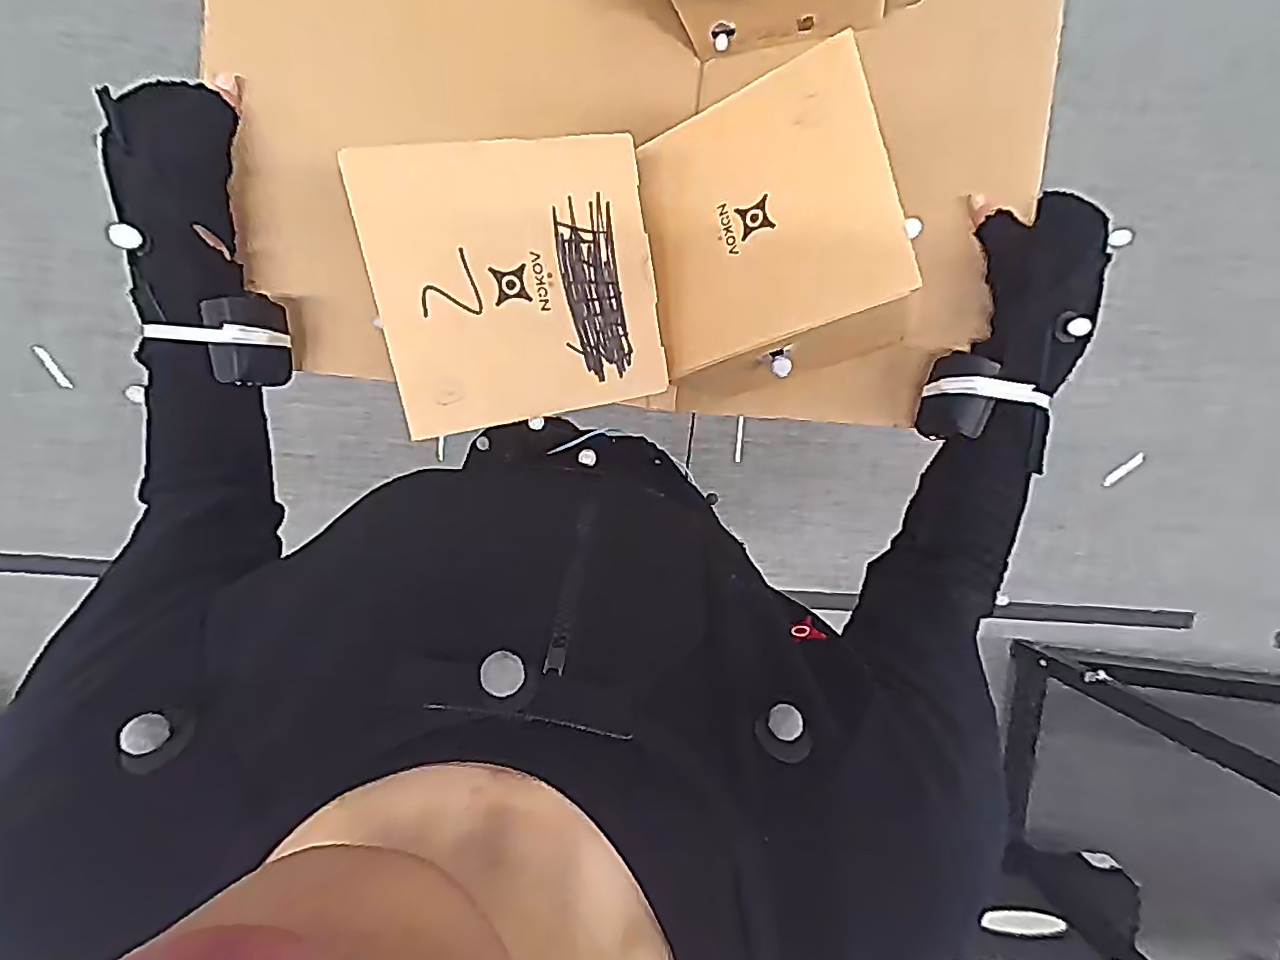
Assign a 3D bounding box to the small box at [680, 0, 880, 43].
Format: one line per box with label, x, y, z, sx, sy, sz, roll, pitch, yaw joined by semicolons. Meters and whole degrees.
small box;0.109;-0.484;0.418;0.168;0.176;0.179;9;94;24
